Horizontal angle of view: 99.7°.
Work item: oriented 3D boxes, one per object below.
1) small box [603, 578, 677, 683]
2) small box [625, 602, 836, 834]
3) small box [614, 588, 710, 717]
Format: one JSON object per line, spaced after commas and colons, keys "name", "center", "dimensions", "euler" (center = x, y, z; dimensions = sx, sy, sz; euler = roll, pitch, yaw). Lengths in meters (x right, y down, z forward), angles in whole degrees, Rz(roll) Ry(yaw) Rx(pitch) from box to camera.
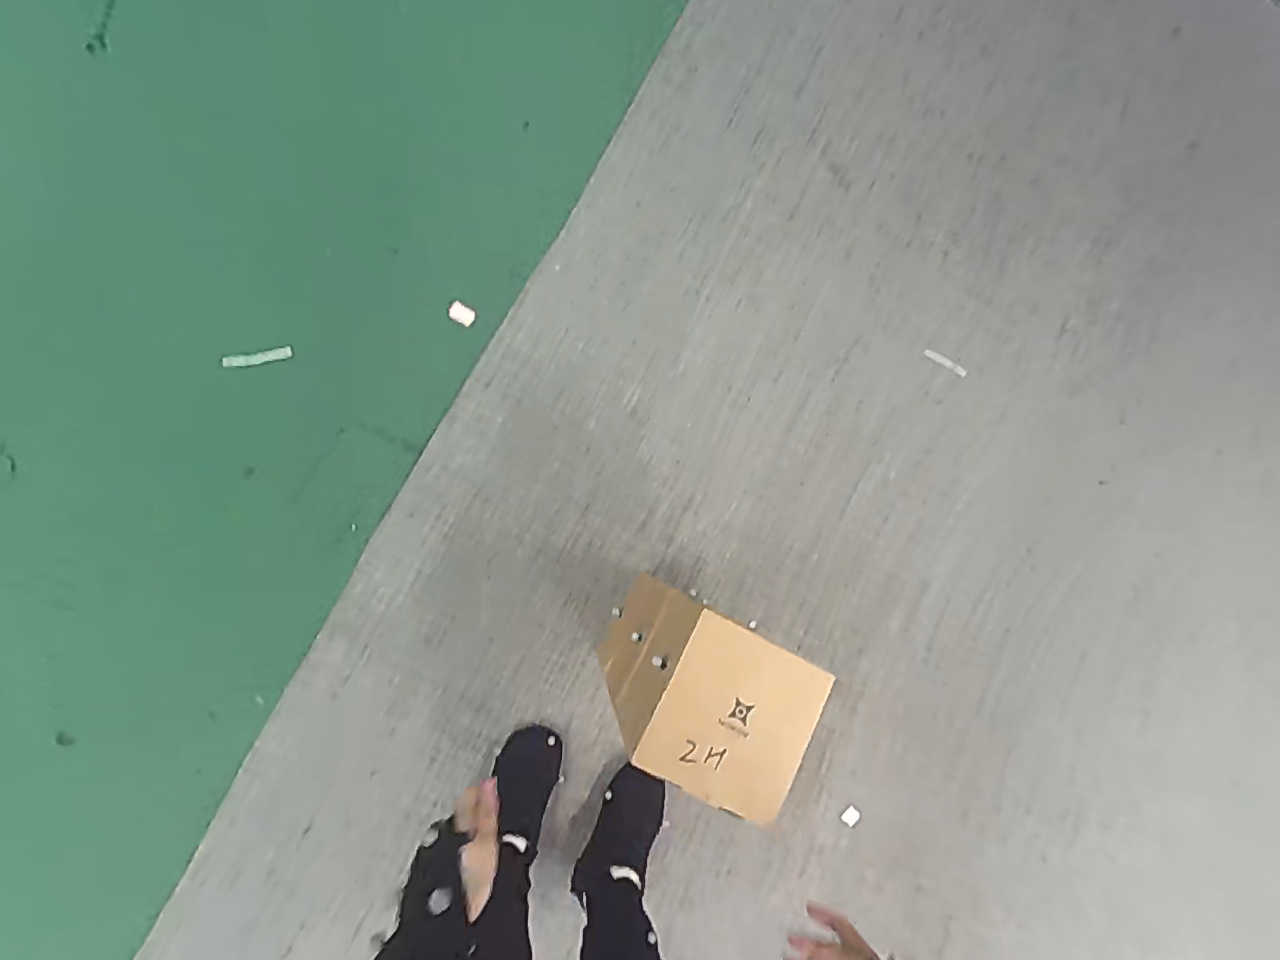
{"name": "small box", "center": [0.046, 0.291, 0.960], "dimensions": [0.168, 0.176, 0.179], "euler": [31, 81, -3]}
{"name": "small box", "center": [0.092, 0.258, 0.638], "dimensions": [0.168, 0.176, 0.179], "euler": [28, 80, -2]}
{"name": "small box", "center": [0.069, 0.274, 0.801], "dimensions": [0.168, 0.176, 0.179], "euler": [28, 81, -2]}
